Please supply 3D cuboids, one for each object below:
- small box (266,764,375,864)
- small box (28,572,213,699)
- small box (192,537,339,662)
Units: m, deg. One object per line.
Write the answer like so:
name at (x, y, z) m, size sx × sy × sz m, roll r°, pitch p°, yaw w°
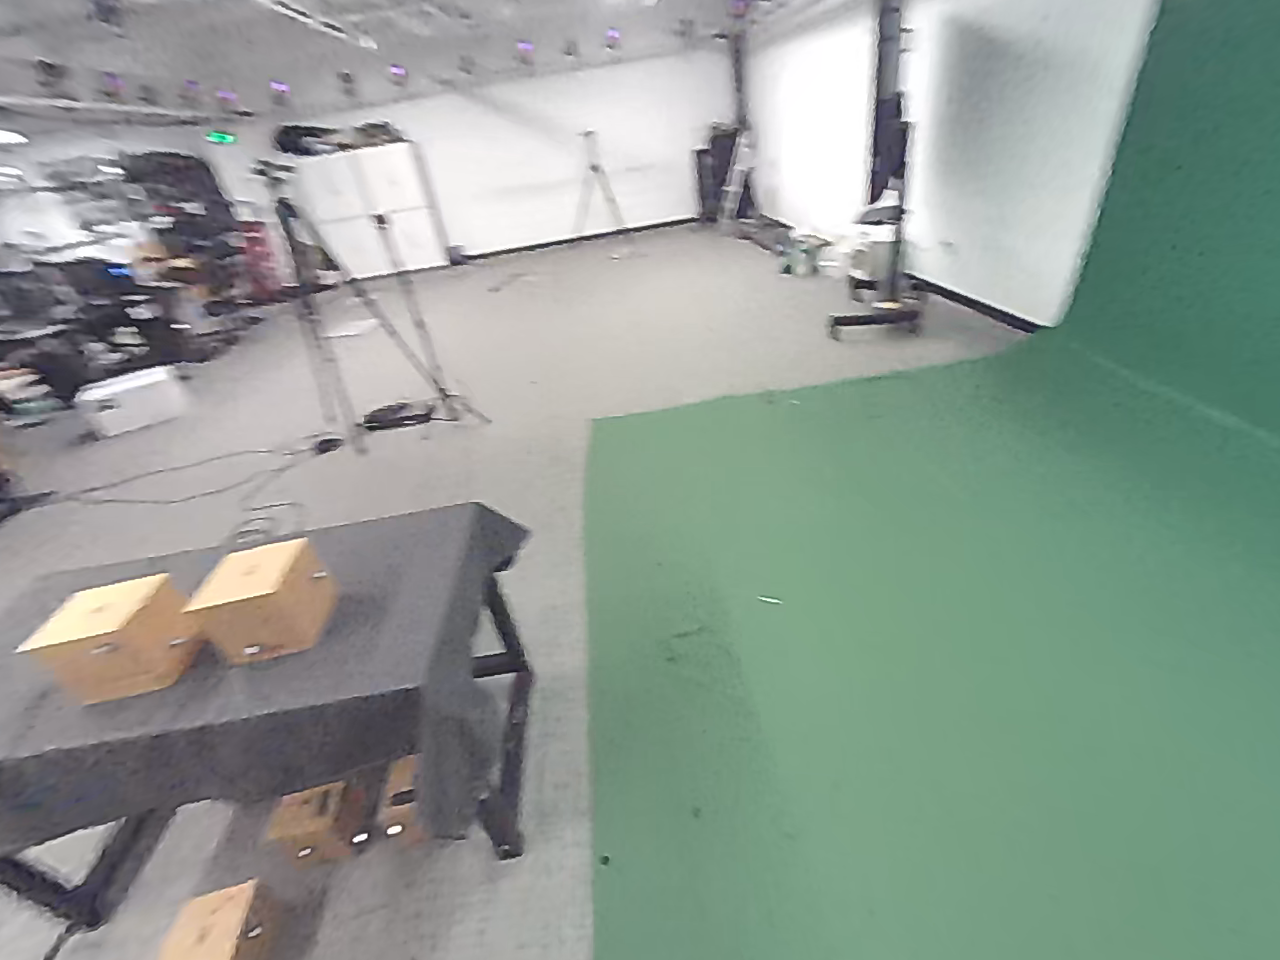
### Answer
small box at (-0.862, 0.915, 1.482) m, size 0.179 × 0.176 × 0.168 m, roll -11°, pitch 33°, yaw -1°
small box at (-1.041, 0.318, 1.104) m, size 0.179 × 0.176 × 0.168 m, roll -12°, pitch 33°, yaw -4°
small box at (-0.769, 0.250, 1.137) m, size 0.168 × 0.176 × 0.179 m, roll -12°, pitch 33°, yaw -1°
